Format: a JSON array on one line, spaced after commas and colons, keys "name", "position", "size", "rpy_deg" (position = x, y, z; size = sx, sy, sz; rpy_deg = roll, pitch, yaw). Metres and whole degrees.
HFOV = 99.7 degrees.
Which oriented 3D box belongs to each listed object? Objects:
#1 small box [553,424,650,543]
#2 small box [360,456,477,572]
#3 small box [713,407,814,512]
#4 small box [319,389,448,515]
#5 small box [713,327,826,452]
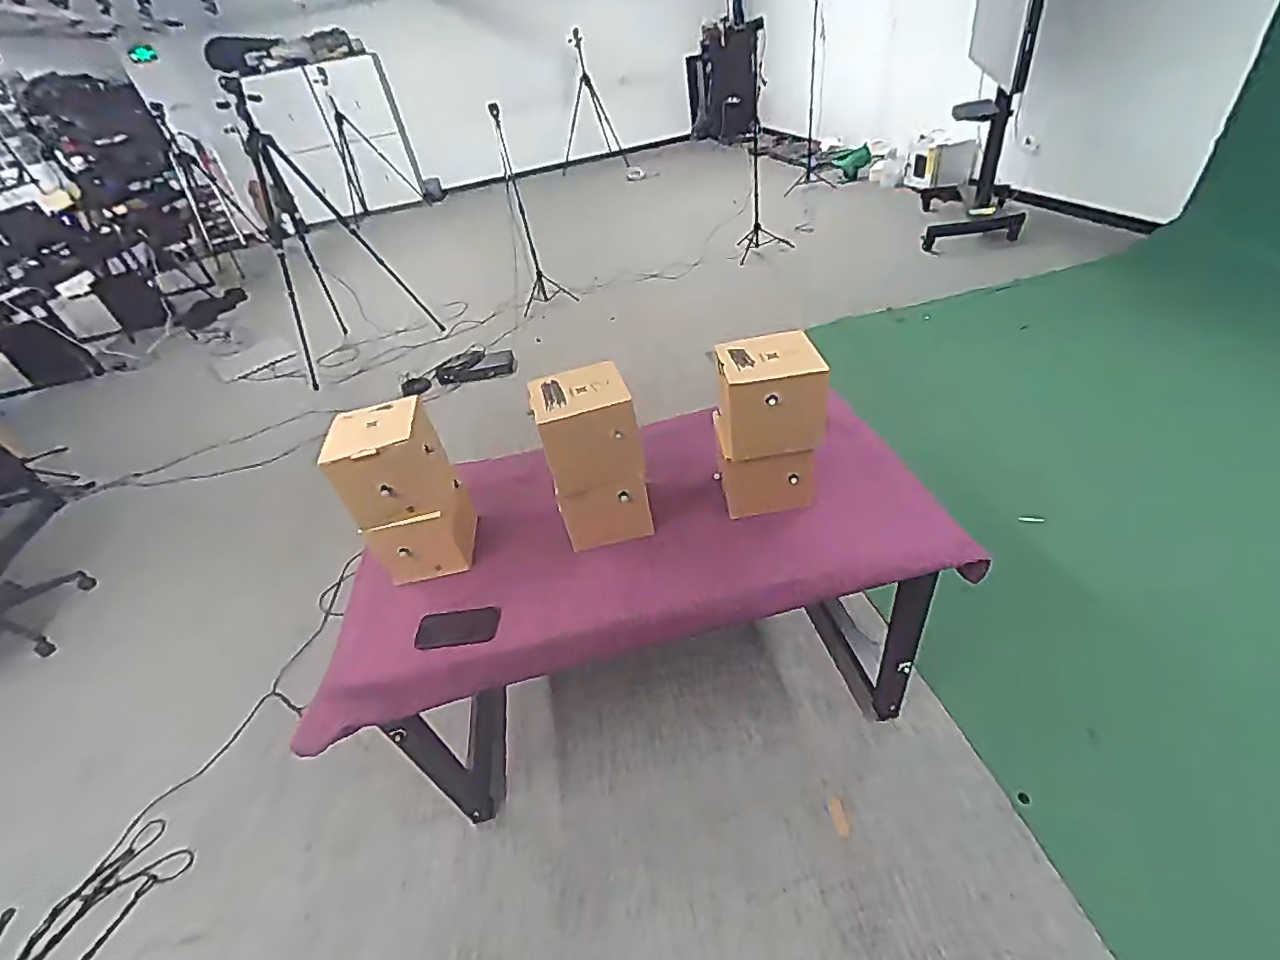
[{"name": "small box", "position": [-0.079, 0.009, 1.152], "size": [0.179, 0.176, 0.168], "rpy_deg": [-12, 40, 0]}, {"name": "small box", "position": [-0.464, 0.079, 1.164], "size": [0.168, 0.176, 0.179], "rpy_deg": [-12, 40, 0]}, {"name": "small box", "position": [0.256, -0.052, 1.147], "size": [0.179, 0.176, 0.168], "rpy_deg": [-9, 39, 5]}, {"name": "small box", "position": [-0.490, -0.050, 1.066], "size": [0.168, 0.176, 0.179], "rpy_deg": [-15, 40, -5]}, {"name": "small box", "position": [0.241, -0.168, 1.031], "size": [0.179, 0.176, 0.168], "rpy_deg": [-8, 39, 3]}]
